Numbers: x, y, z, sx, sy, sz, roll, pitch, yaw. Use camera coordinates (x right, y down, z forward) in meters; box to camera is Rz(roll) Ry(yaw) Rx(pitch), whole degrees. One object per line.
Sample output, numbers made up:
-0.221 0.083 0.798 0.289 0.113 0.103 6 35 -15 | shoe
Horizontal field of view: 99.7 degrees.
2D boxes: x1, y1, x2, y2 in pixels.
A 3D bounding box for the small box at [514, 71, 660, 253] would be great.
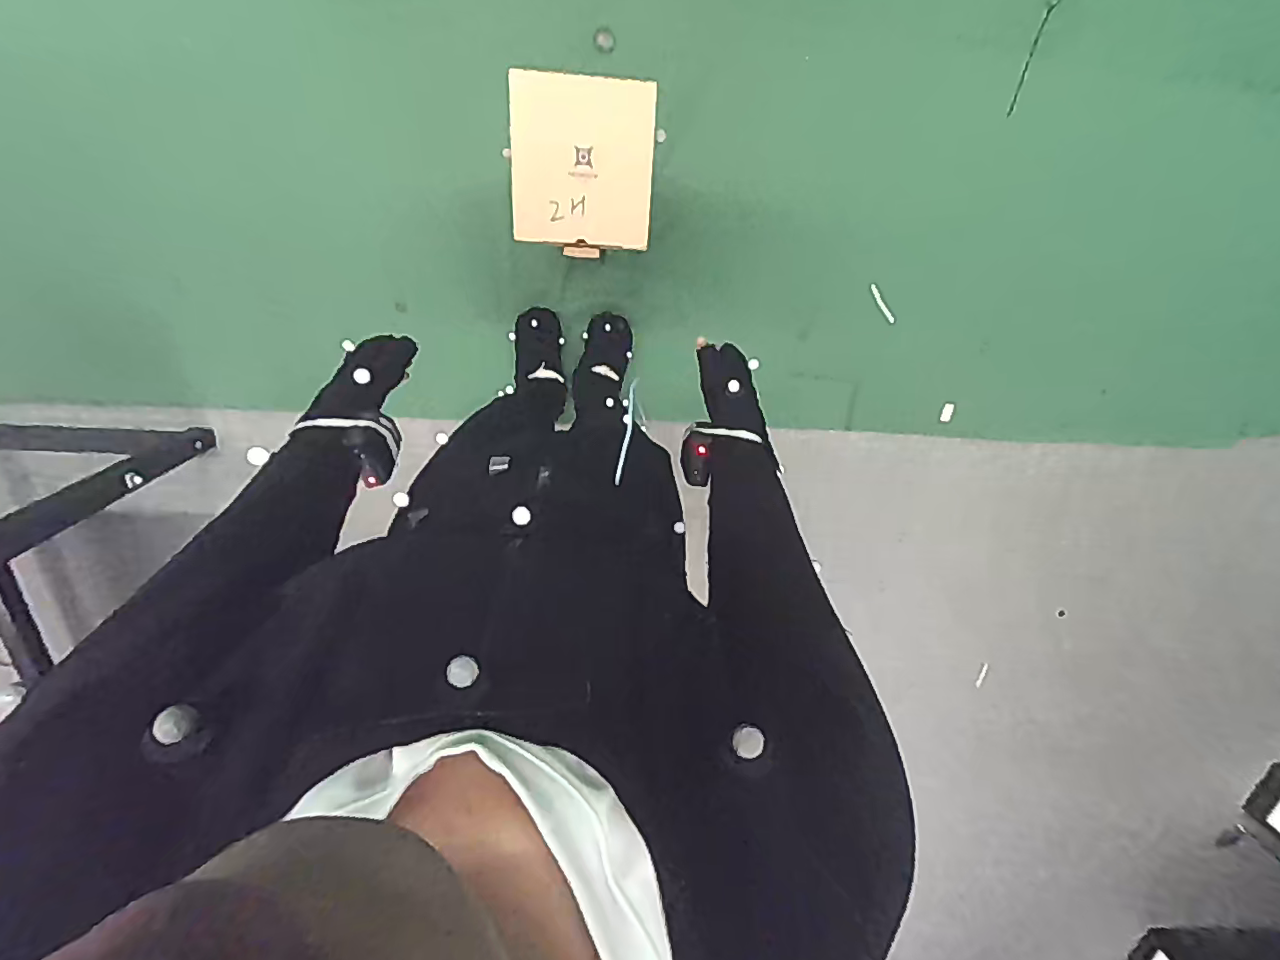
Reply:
-0.071 -0.397 0.705 0.168 0.176 0.179 2 114 -5 | small box
